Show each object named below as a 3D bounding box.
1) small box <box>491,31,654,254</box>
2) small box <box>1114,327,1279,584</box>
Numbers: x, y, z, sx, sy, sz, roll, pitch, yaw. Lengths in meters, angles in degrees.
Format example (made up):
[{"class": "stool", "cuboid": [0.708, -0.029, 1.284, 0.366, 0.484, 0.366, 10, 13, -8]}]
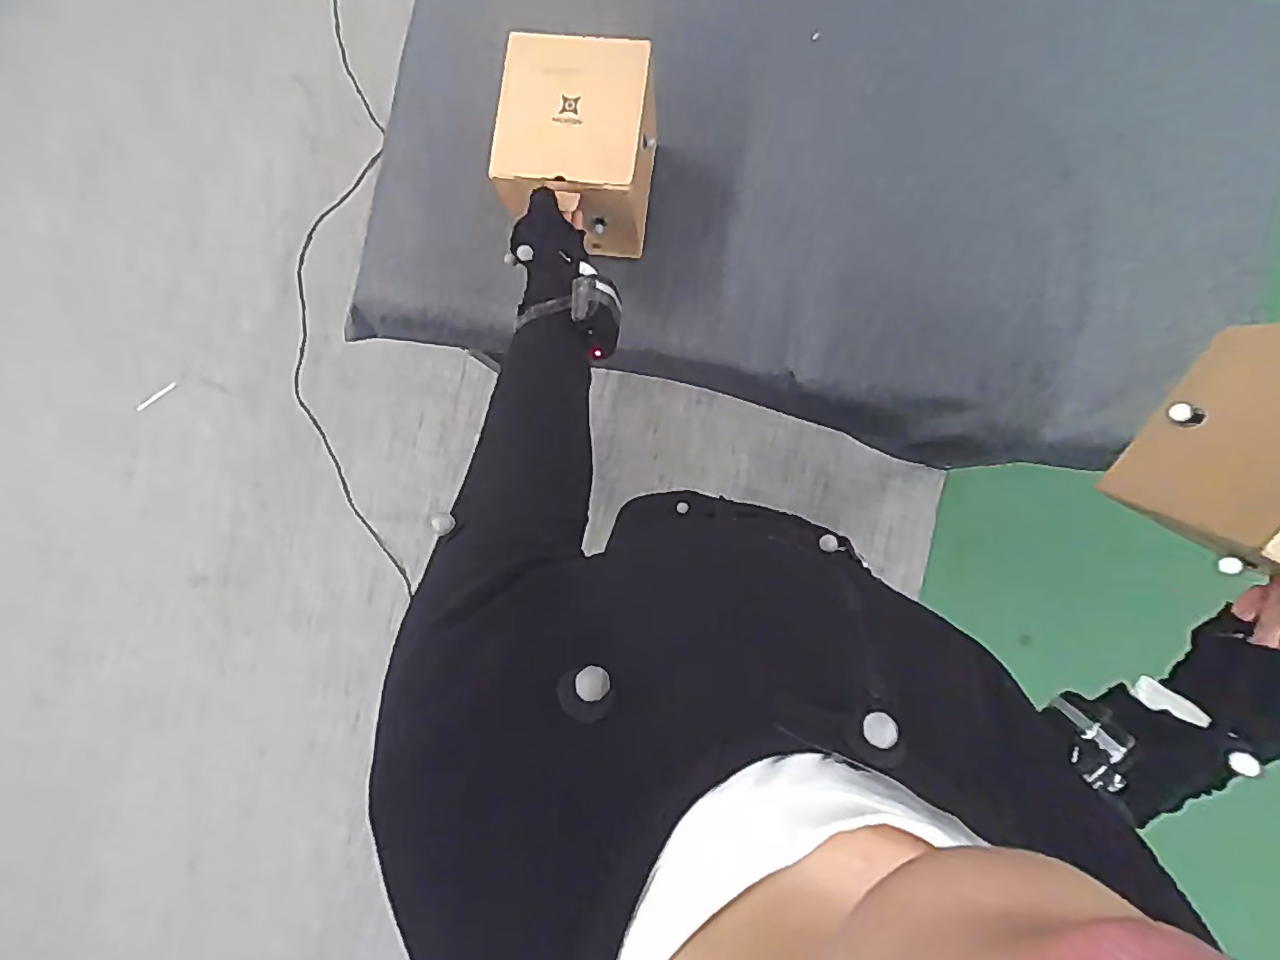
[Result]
[{"class": "small box", "cuboid": [-0.074, -0.410, 0.685, 0.168, 0.176, 0.179, 7, 86, 2]}, {"class": "small box", "cuboid": [0.545, -0.006, 0.432, 0.168, 0.176, 0.179, 28, 106, -2]}]
